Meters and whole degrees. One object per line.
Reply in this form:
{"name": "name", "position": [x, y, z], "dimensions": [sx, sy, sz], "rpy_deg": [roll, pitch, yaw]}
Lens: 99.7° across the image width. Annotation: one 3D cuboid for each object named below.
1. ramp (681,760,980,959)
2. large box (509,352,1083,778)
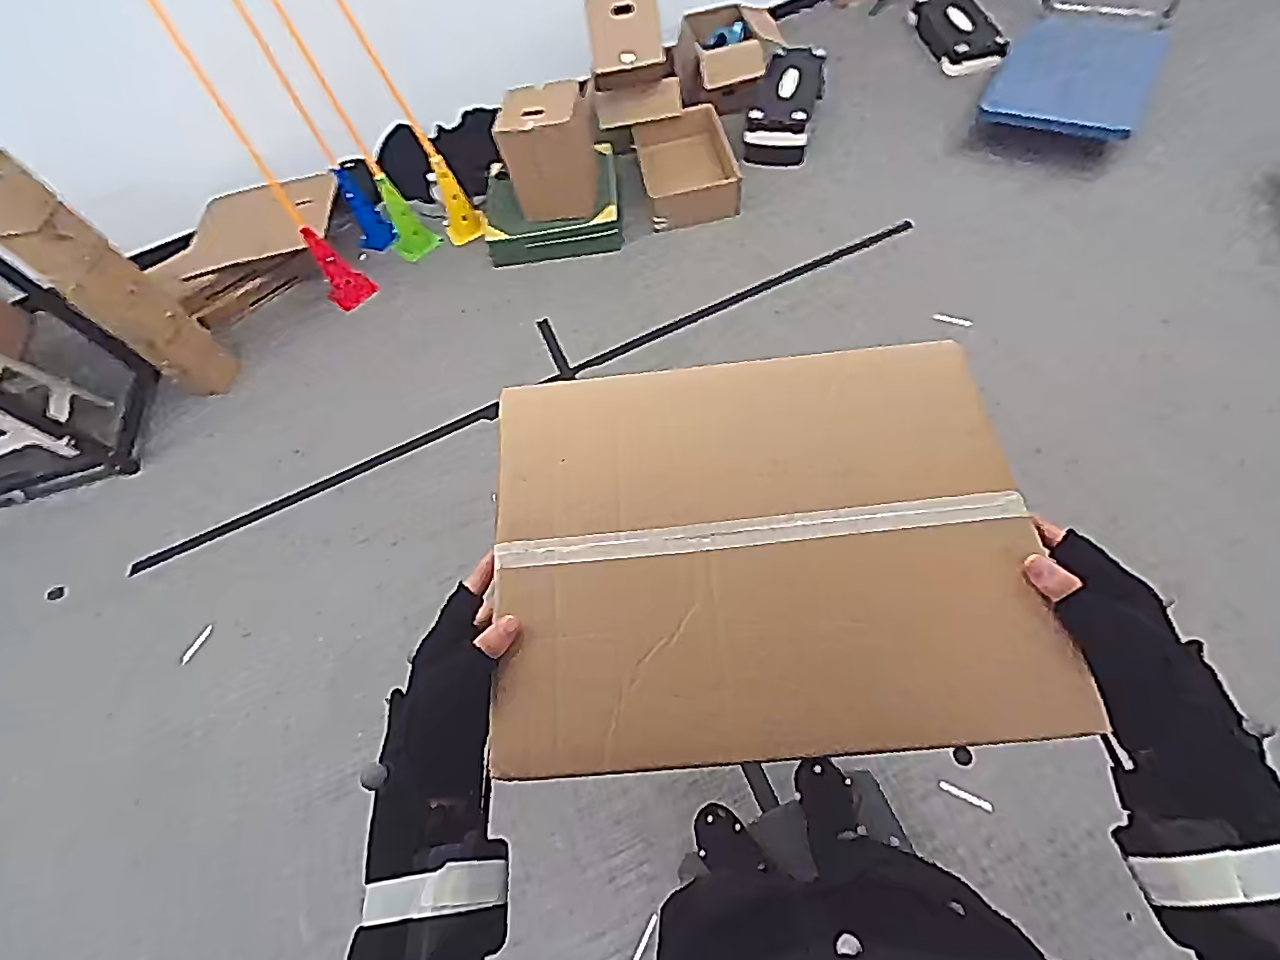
{"name": "ramp", "position": [0.516, 1.159, 1.065], "dimensions": [0.509, 0.206, 0.991], "rpy_deg": [-26, 61, -6]}
{"name": "large box", "position": [0.106, 0.104, 0.566], "dimensions": [0.408, 0.320, 0.320], "rpy_deg": [-6, 66, 3]}
